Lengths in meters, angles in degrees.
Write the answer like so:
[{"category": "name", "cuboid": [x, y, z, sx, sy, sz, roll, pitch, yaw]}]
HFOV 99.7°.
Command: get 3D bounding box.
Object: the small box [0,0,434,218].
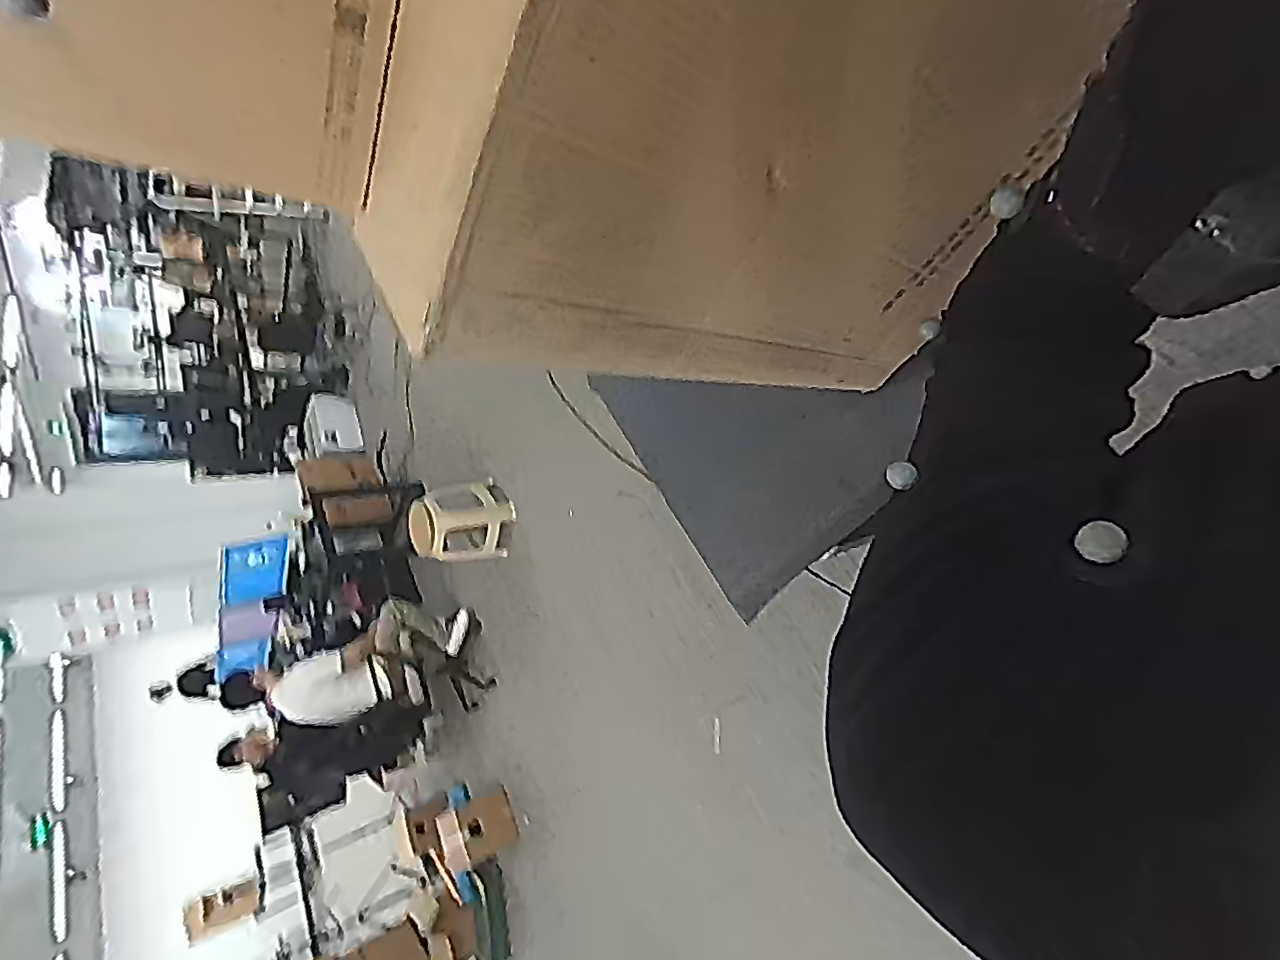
[{"category": "small box", "cuboid": [-0.239, -0.280, 0.309, 0.179, 0.176, 0.168, 58, 134, 27]}]
